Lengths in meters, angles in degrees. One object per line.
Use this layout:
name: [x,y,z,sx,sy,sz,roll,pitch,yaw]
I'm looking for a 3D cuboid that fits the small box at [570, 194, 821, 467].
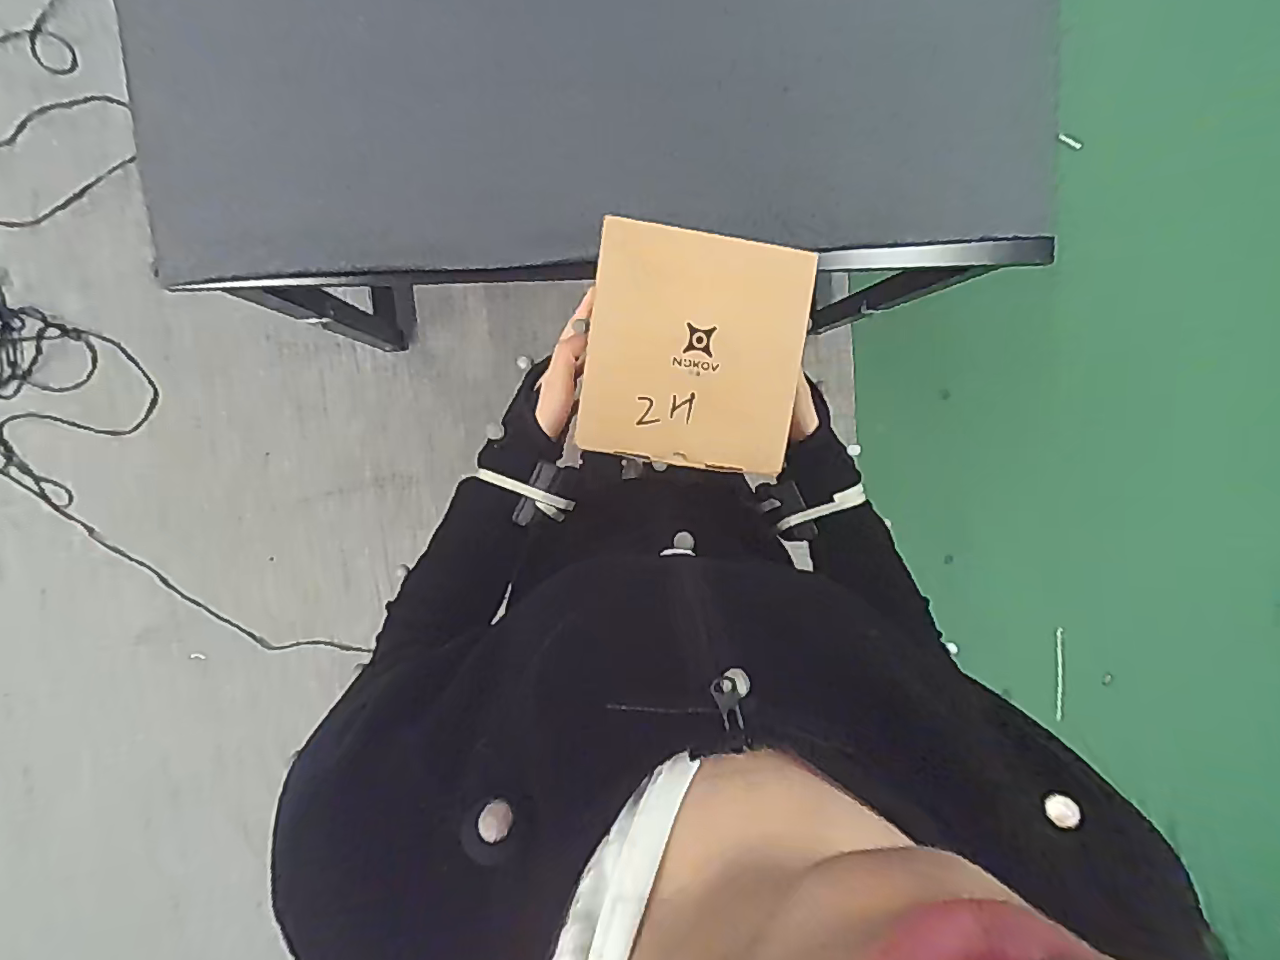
small box: [0.035,-0.113,0.473,0.168,0.176,0.179,8,95,-4]
